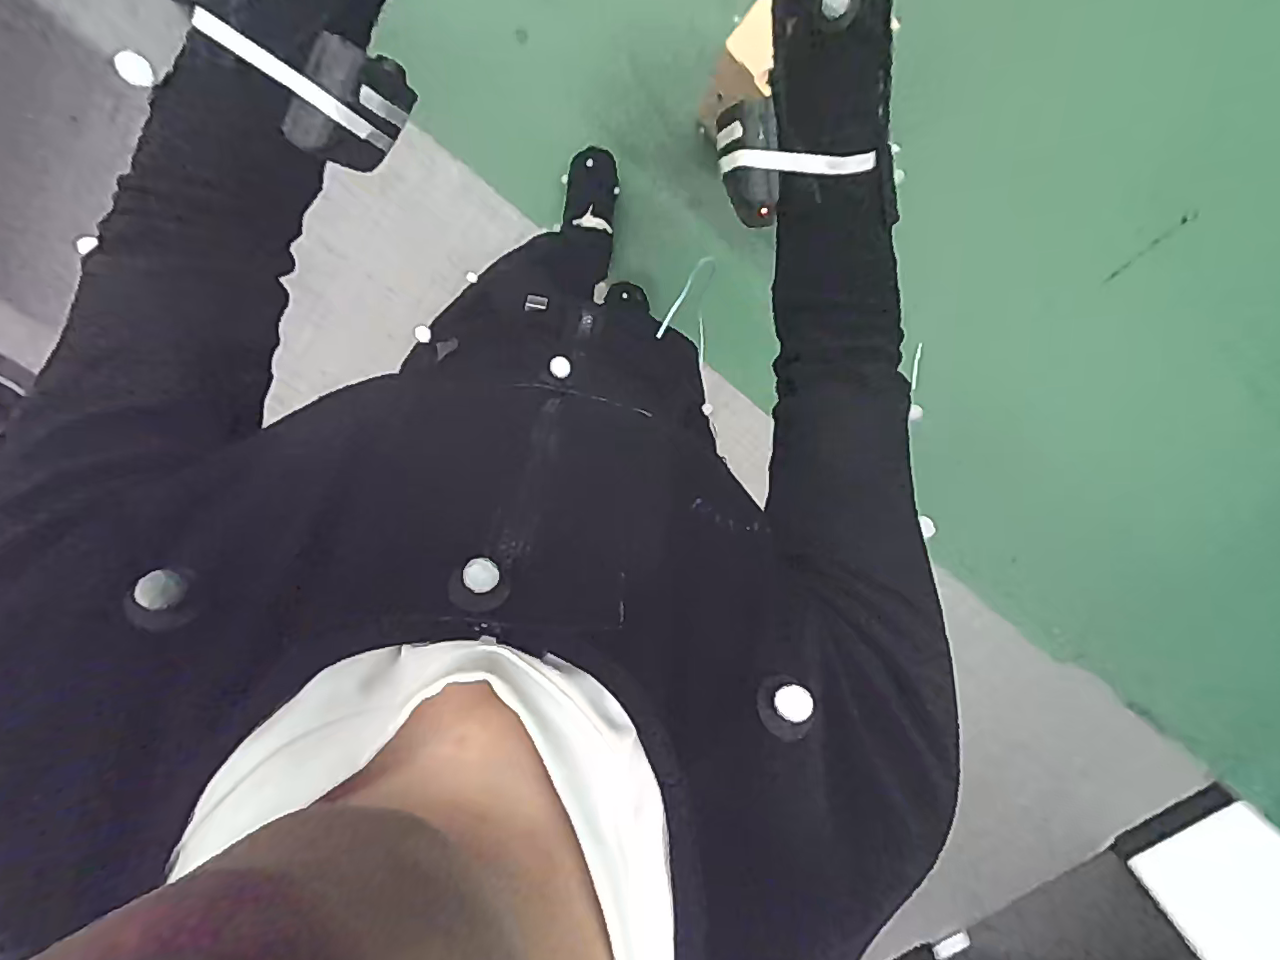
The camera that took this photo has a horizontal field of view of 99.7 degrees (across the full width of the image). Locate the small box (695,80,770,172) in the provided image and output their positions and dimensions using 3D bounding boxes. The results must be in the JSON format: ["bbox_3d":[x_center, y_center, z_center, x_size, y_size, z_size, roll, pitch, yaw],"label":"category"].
[{"bbox_3d":[0.227,-0.768,1.112,0.168,0.176,0.179,38,110,-15],"label":"small box"}]

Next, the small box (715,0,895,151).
[{"bbox_3d":[0.232,-0.635,0.812,0.168,0.176,0.179,39,108,-16],"label":"small box"}]
